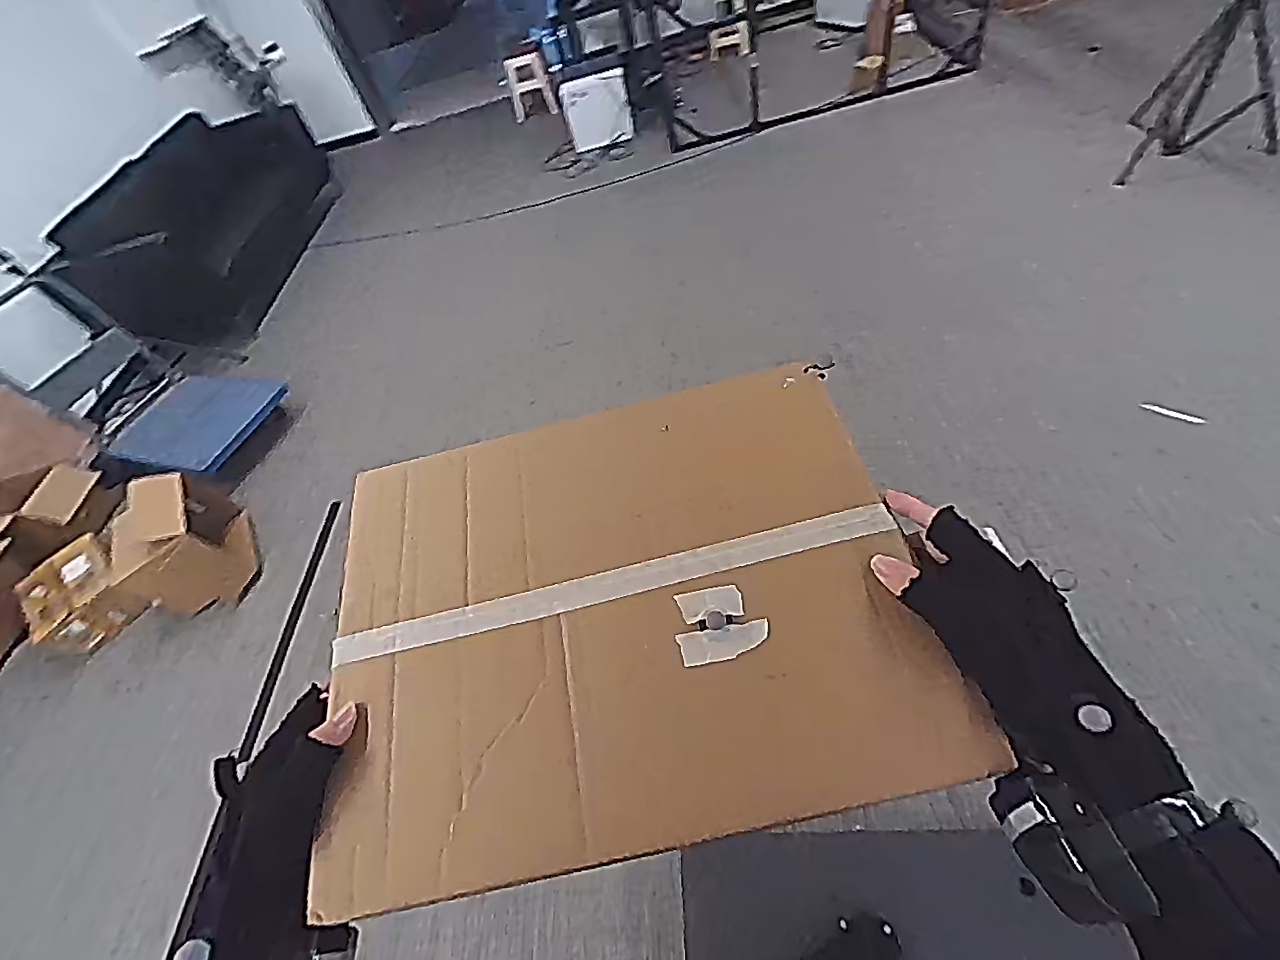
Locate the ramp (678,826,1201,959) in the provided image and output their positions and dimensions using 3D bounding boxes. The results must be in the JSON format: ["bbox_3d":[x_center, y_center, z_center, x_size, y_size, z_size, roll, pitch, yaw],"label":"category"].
[{"bbox_3d":[0.583,0.962,1.039,0.991,0.206,0.509,-10,50,8],"label":"ramp"}]

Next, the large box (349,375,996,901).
[{"bbox_3d":[0.011,0.156,0.522,0.408,0.320,0.320,-13,58,2],"label":"large box"}]
